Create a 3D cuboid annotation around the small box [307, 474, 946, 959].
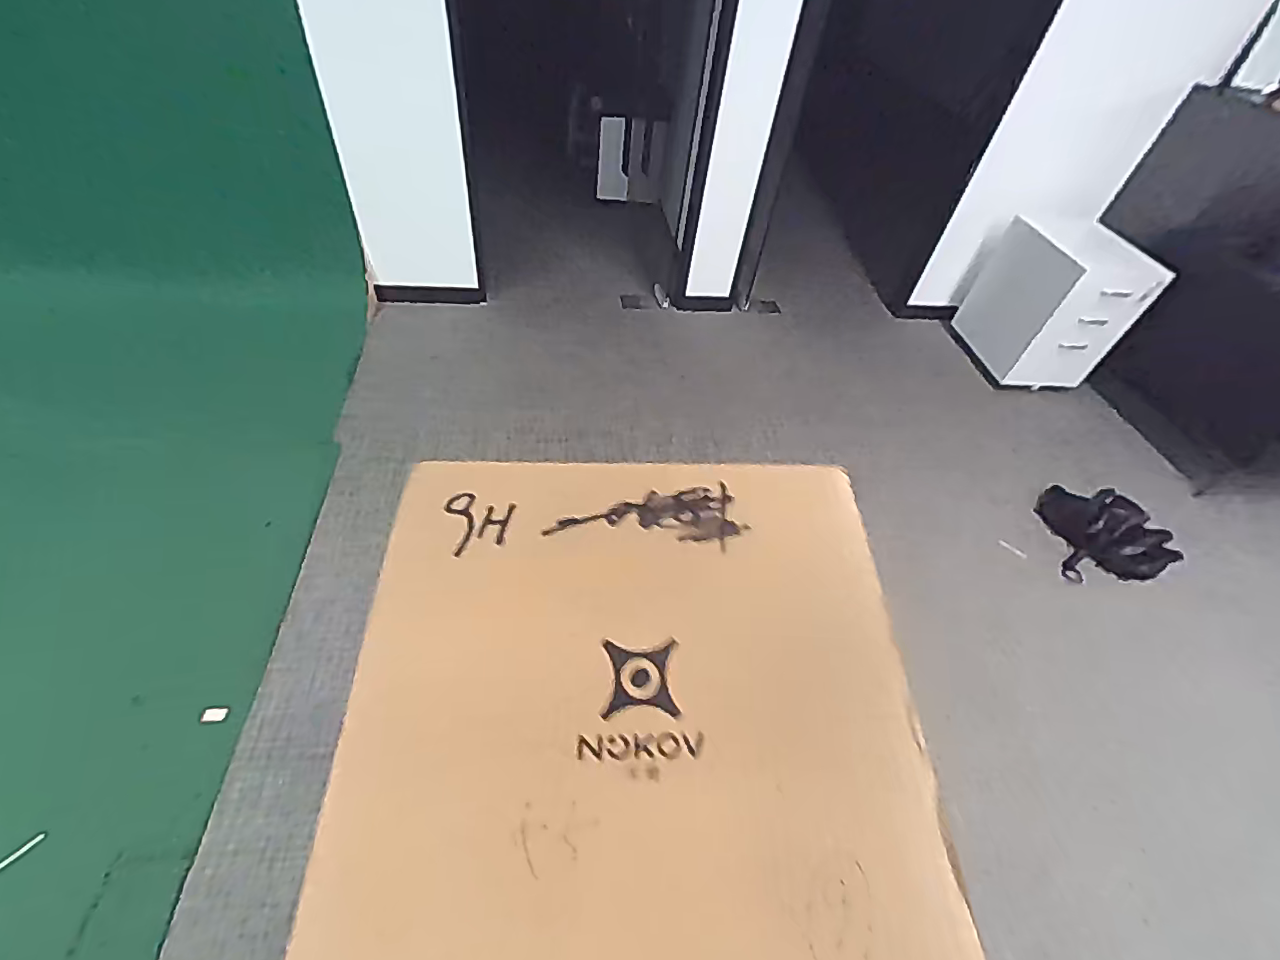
[{"bbox_3d":[-0.006,0.114,0.234,0.168,0.176,0.179,1,60,-3],"label":"small box"}]
